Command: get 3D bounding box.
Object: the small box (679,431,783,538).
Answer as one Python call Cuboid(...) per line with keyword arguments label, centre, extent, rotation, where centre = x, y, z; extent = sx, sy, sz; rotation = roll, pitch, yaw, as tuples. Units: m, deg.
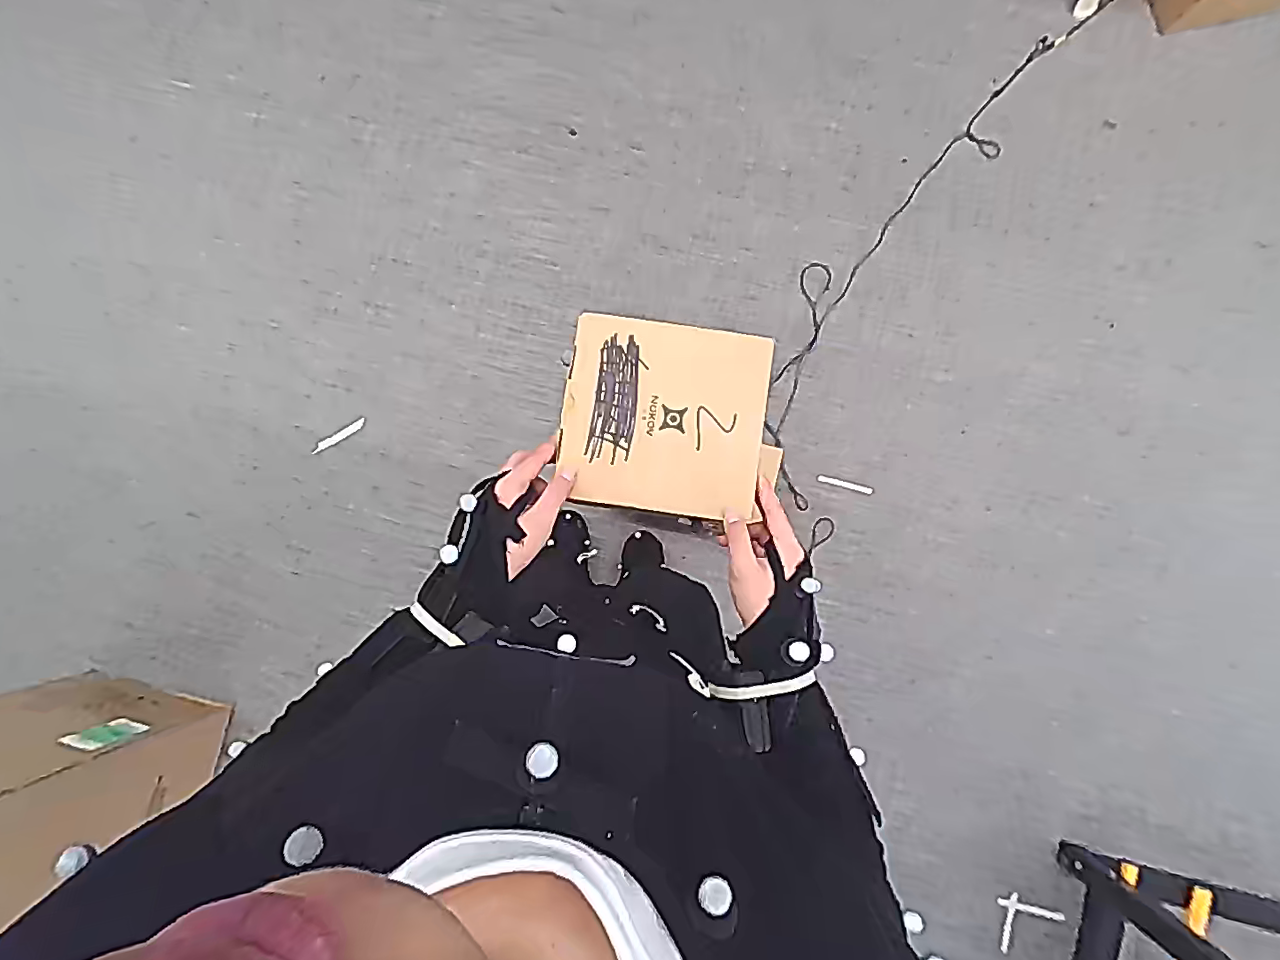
Cuboid(label="small box", centre=(0.180, 0.015, 1.121), extent=(0.168, 0.176, 0.179), rotation=(15, 85, 3))
